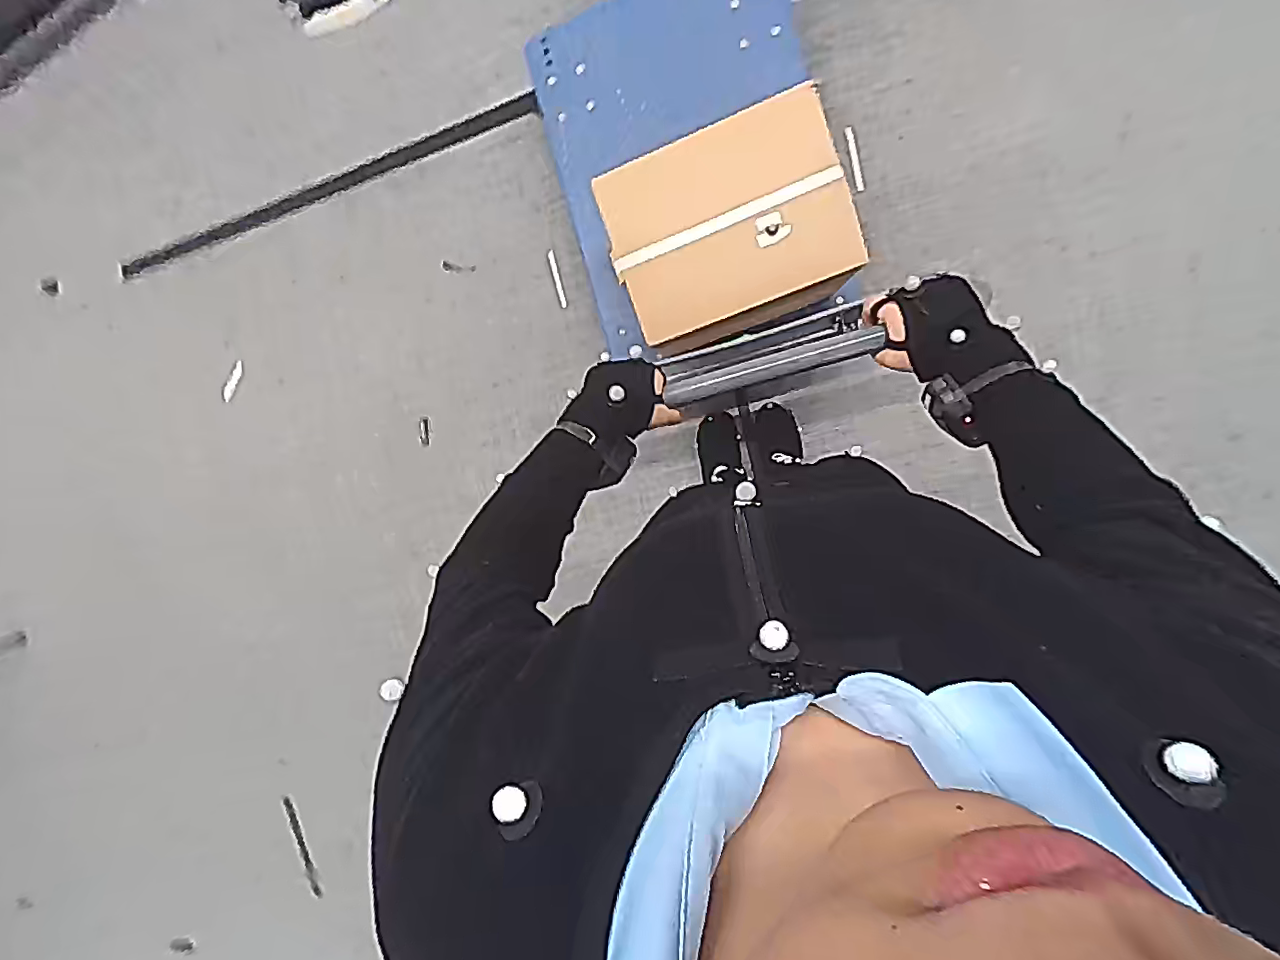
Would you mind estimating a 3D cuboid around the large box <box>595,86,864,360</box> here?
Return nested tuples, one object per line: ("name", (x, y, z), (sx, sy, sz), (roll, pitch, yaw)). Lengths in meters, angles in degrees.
("large box", (0.169, -0.470, 1.094), (0.408, 0.320, 0.320), (-20, 96, 10))
